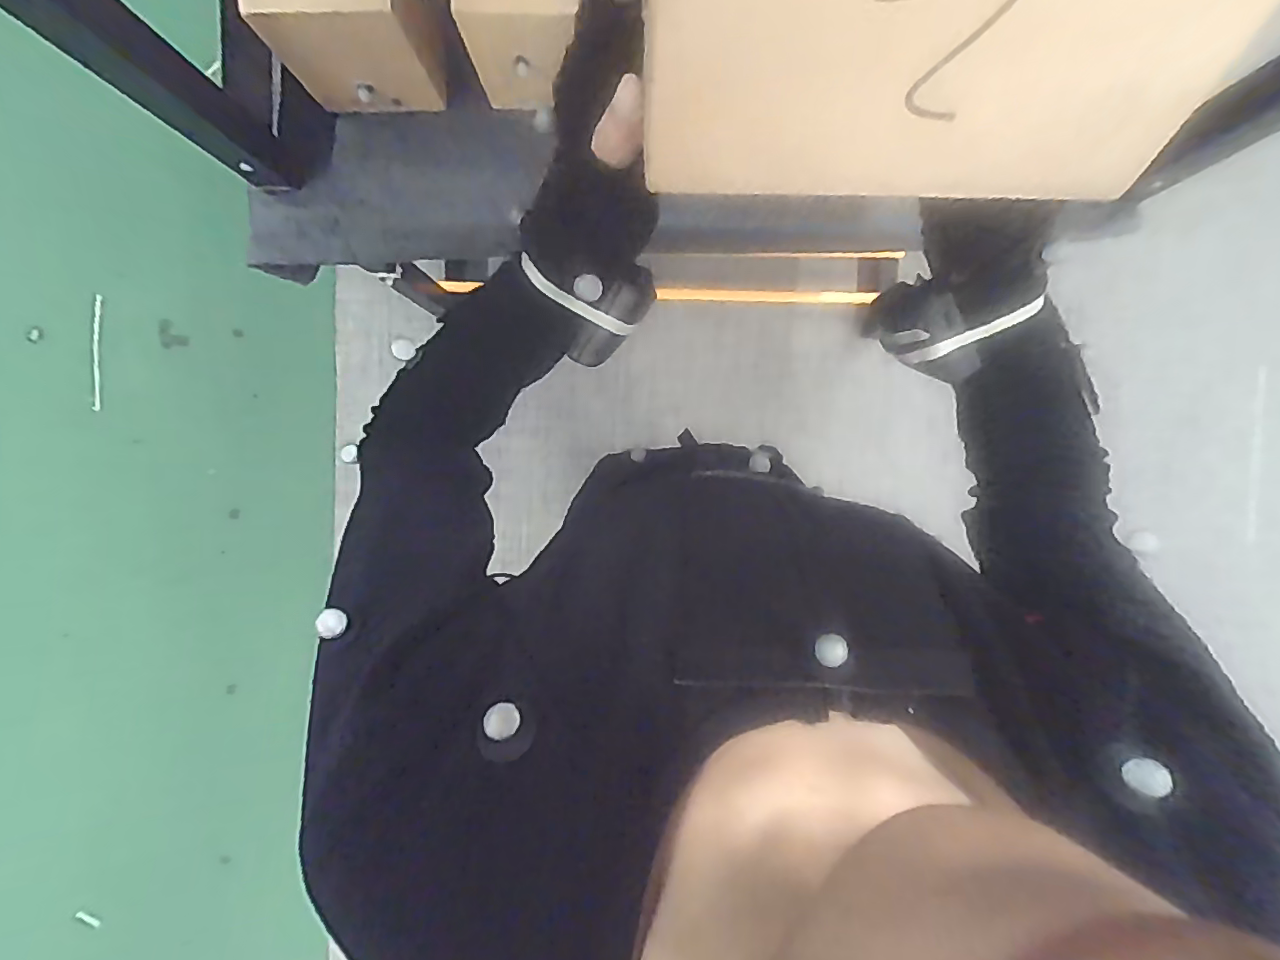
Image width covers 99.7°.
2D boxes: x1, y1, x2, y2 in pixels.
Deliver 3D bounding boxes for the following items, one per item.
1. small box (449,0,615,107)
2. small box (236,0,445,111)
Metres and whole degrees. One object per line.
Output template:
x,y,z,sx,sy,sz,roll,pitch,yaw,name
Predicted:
-0.117,-0.585,0.648,0.168,0.176,0.179,1,91,0,small box
-0.344,-0.584,0.646,0.168,0.176,0.179,-1,92,0,small box
